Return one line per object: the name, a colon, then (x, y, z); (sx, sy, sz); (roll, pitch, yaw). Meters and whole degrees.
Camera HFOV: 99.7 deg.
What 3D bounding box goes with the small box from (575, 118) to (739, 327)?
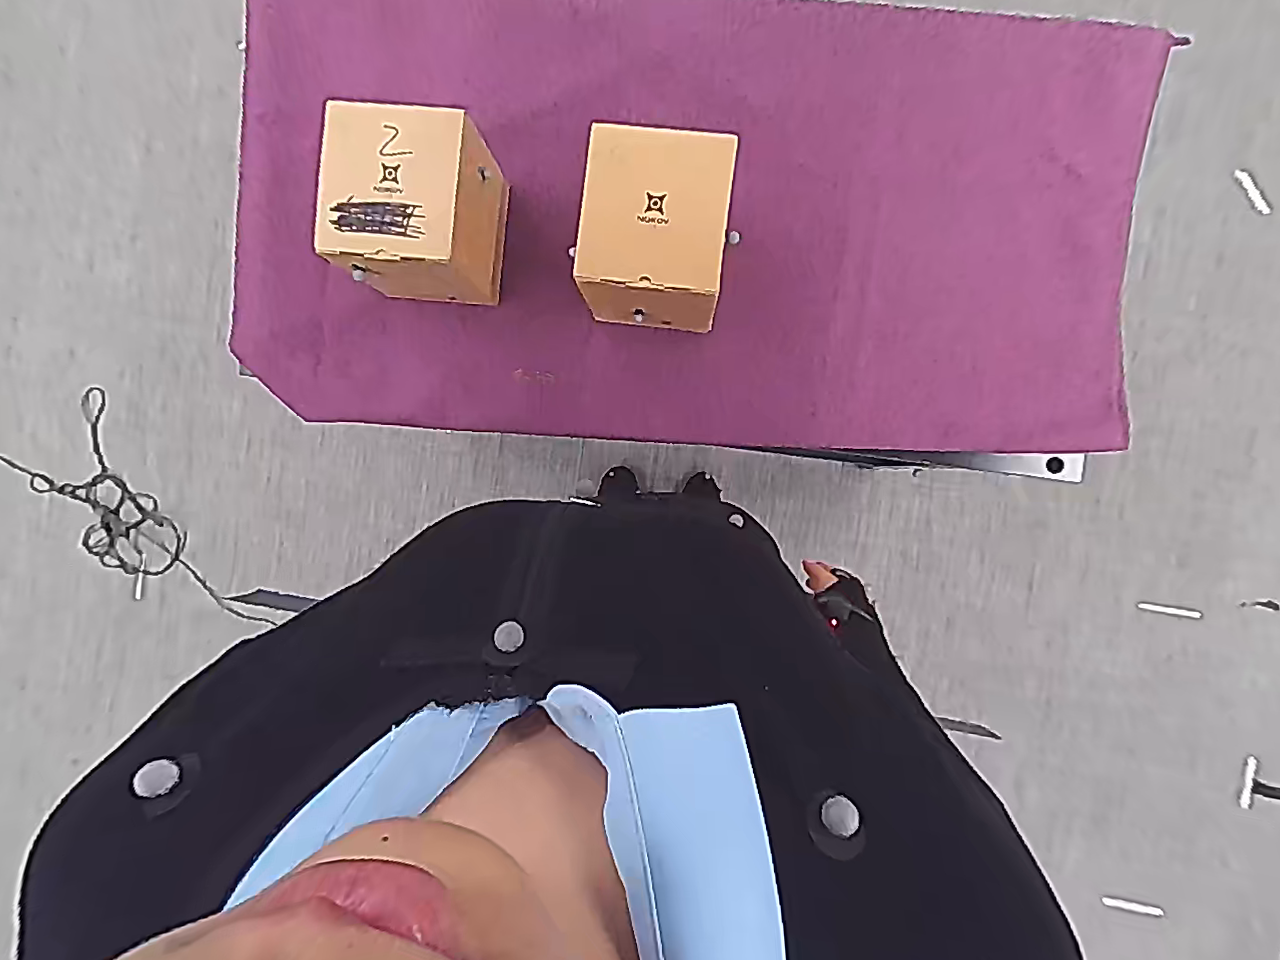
small box: (0.022, -0.308, 0.678); (0.168, 0.176, 0.179); (7, 92, 4)
